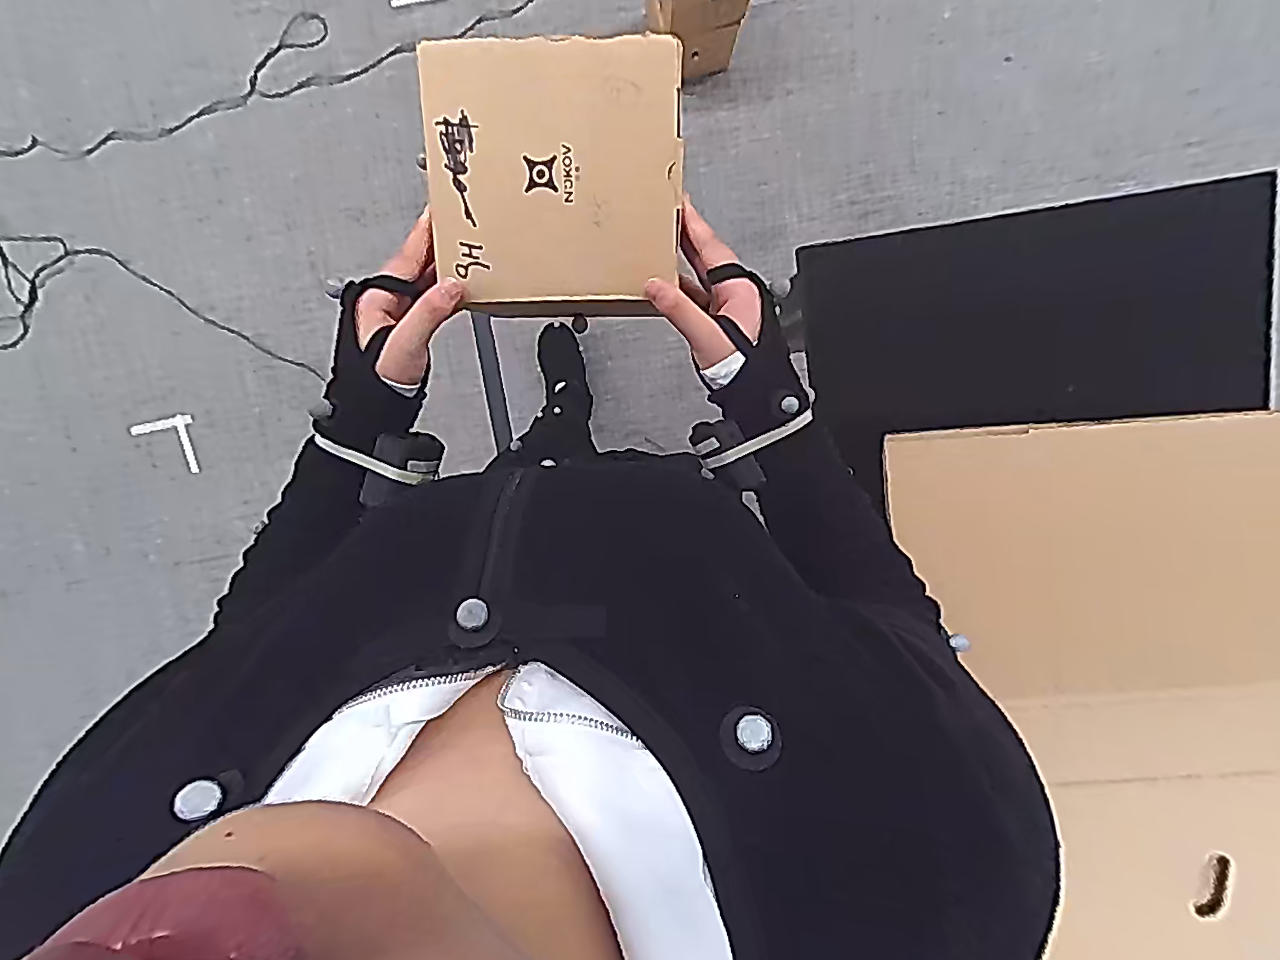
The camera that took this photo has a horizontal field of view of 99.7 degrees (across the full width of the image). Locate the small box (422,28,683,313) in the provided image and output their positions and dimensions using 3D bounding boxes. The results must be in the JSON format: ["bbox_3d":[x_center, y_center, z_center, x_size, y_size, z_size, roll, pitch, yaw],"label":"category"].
[{"bbox_3d":[-0.060,-0.235,0.453,0.179,0.176,0.168,-1,102,-1],"label":"small box"}]

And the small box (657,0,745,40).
[{"bbox_3d":[0.118,-1.033,1.083,0.179,0.176,0.168,-16,99,1],"label":"small box"}]

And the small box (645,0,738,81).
[{"bbox_3d":[0.111,-1.055,1.244,0.179,0.176,0.168,-13,98,2],"label":"small box"}]
